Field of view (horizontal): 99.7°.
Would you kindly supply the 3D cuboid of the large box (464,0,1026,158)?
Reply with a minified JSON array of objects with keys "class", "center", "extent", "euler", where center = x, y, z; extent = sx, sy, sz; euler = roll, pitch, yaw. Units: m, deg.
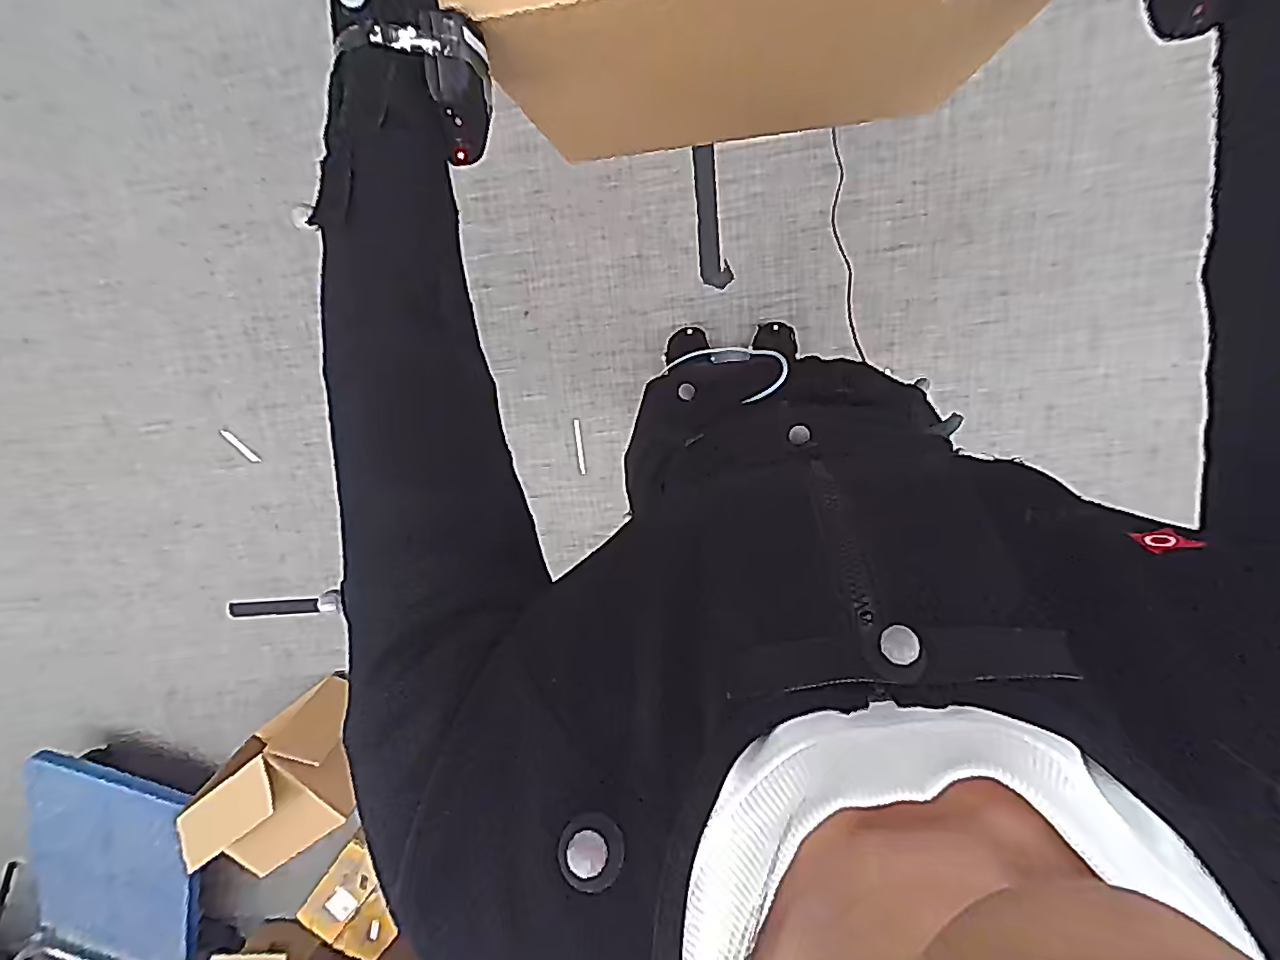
[{"class":"large box","center":[0.081,-0.491,0.419],"extent":[0.408,0.320,0.320],"euler":[-4,106,7]}]
